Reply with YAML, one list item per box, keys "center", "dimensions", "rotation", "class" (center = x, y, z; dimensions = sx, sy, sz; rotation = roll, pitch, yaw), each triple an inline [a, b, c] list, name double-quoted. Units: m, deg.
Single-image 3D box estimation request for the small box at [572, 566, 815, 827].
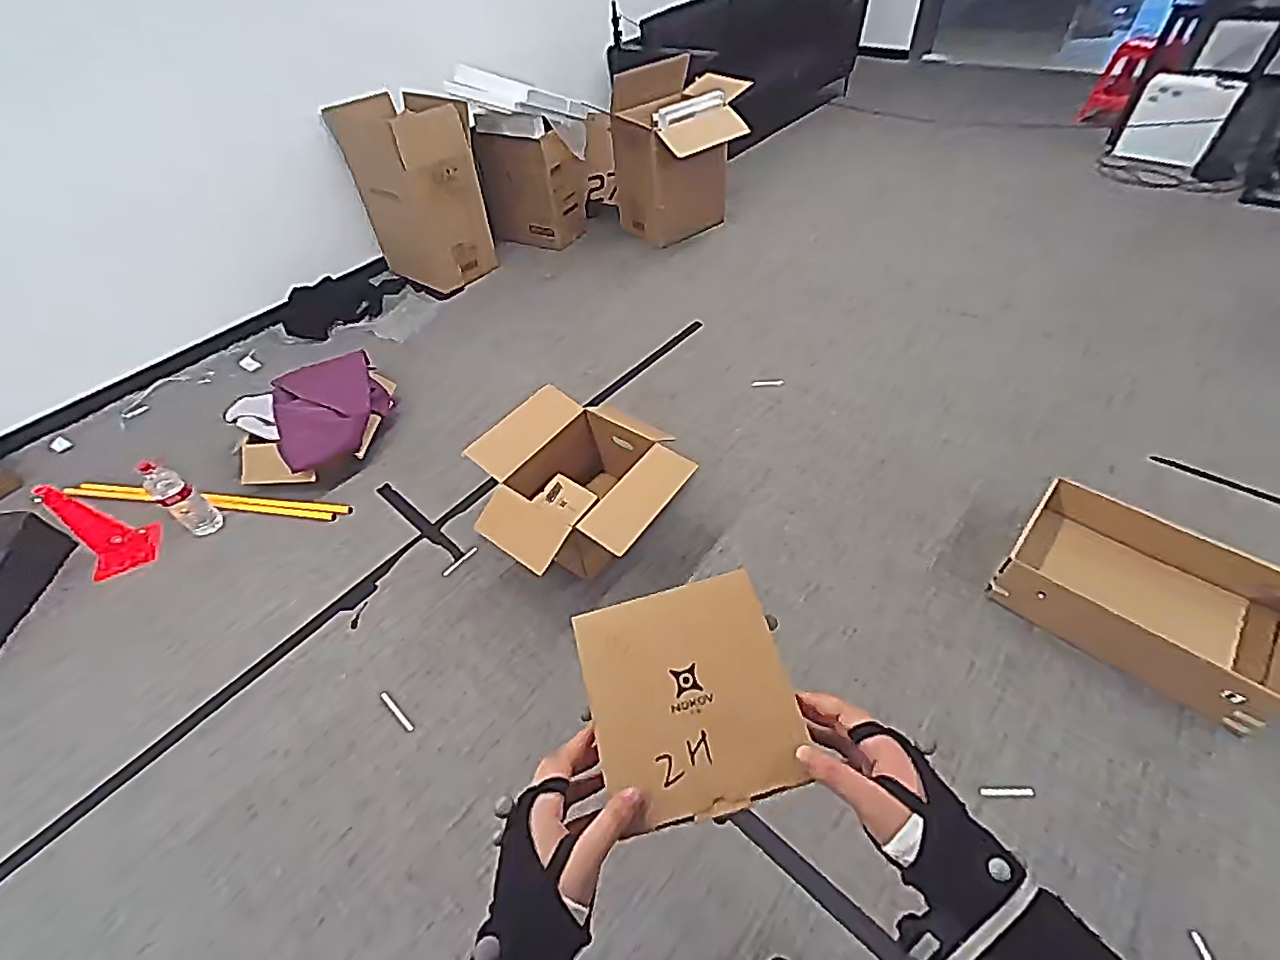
- center: [0.042, 0.209, 0.518]
  dimensions: [0.168, 0.176, 0.179]
  rotation: [-15, 61, -3]
  class: "small box"
